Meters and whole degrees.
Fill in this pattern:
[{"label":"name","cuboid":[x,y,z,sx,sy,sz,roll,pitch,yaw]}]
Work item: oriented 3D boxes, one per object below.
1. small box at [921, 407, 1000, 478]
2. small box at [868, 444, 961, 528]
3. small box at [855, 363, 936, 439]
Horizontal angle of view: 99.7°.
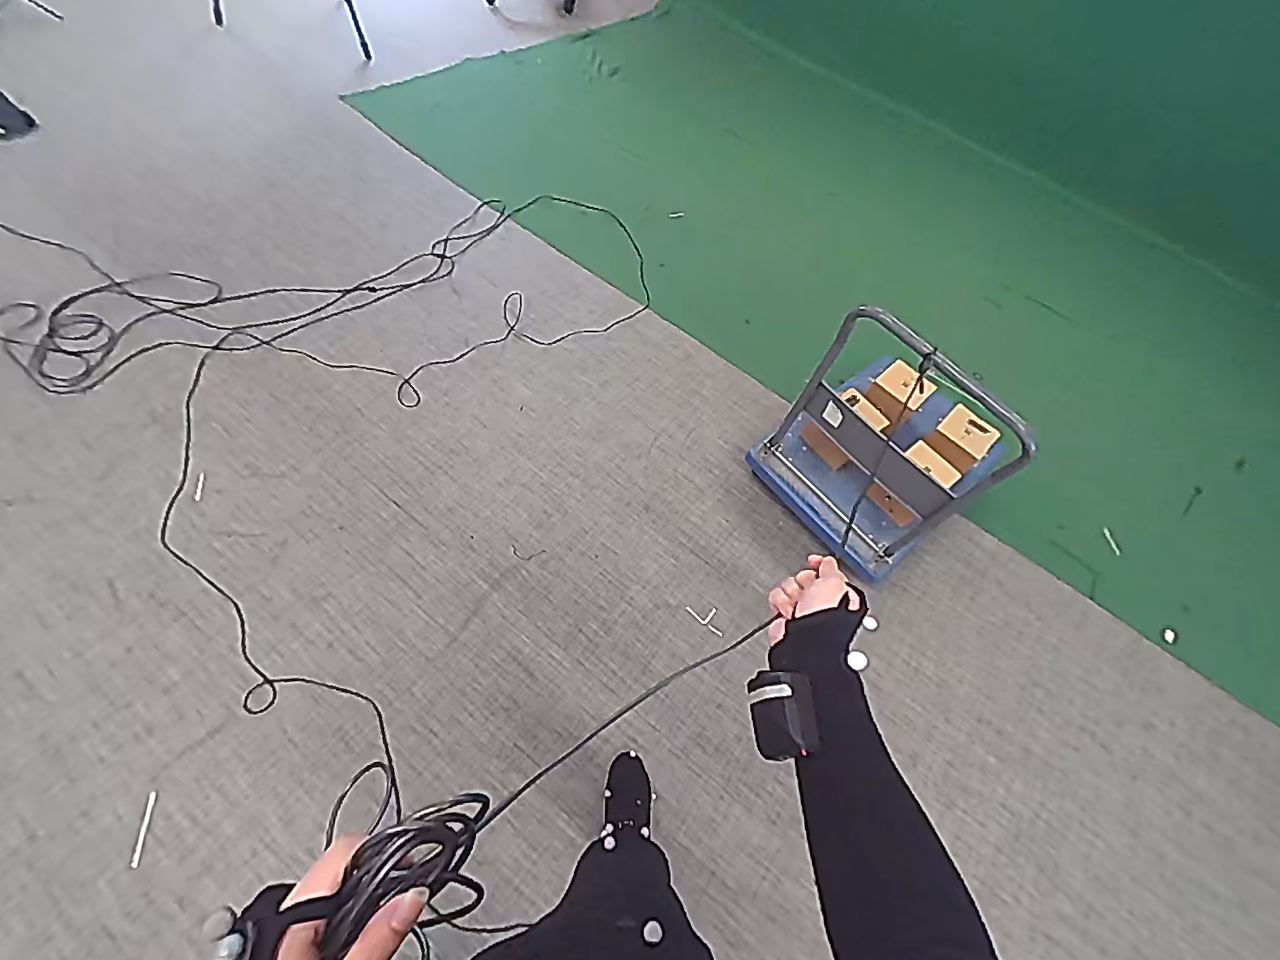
[{"label":"small box","cuboid":[1.075,-0.112,1.855,0.179,0.176,0.168,-37,70,-27]},{"label":"small box","cuboid":[0.872,0.021,1.734,0.179,0.176,0.168,-32,69,-26]},{"label":"small box","cuboid":[0.901,-0.278,1.928,0.179,0.176,0.168,-36,71,-28]}]
